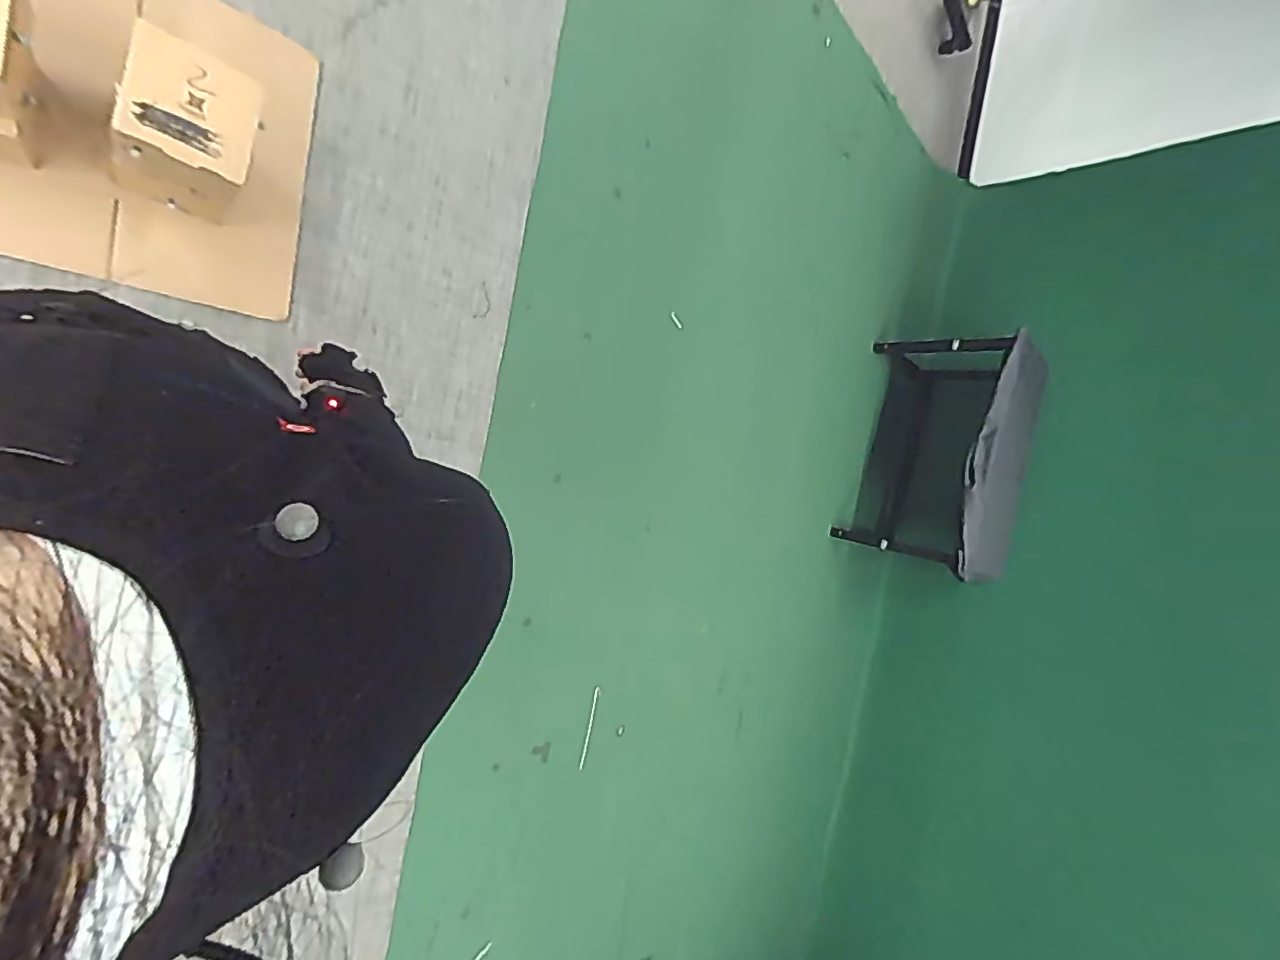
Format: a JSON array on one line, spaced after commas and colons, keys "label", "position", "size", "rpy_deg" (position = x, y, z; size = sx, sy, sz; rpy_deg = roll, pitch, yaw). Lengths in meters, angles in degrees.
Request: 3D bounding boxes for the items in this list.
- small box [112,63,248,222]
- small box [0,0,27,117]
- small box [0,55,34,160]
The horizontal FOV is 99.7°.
[{"label": "small box", "position": [-0.878, -0.628, 1.033], "size": [0.168, 0.176, 0.179], "rpy_deg": [13, 89, -43]}, {"label": "small box", "position": [-0.962, -0.641, 0.725], "size": [0.168, 0.176, 0.179], "rpy_deg": [7, 92, -44]}, {"label": "small box", "position": [-1.079, -0.636, 0.841], "size": [0.168, 0.176, 0.179], "rpy_deg": [4, 95, -43]}]
